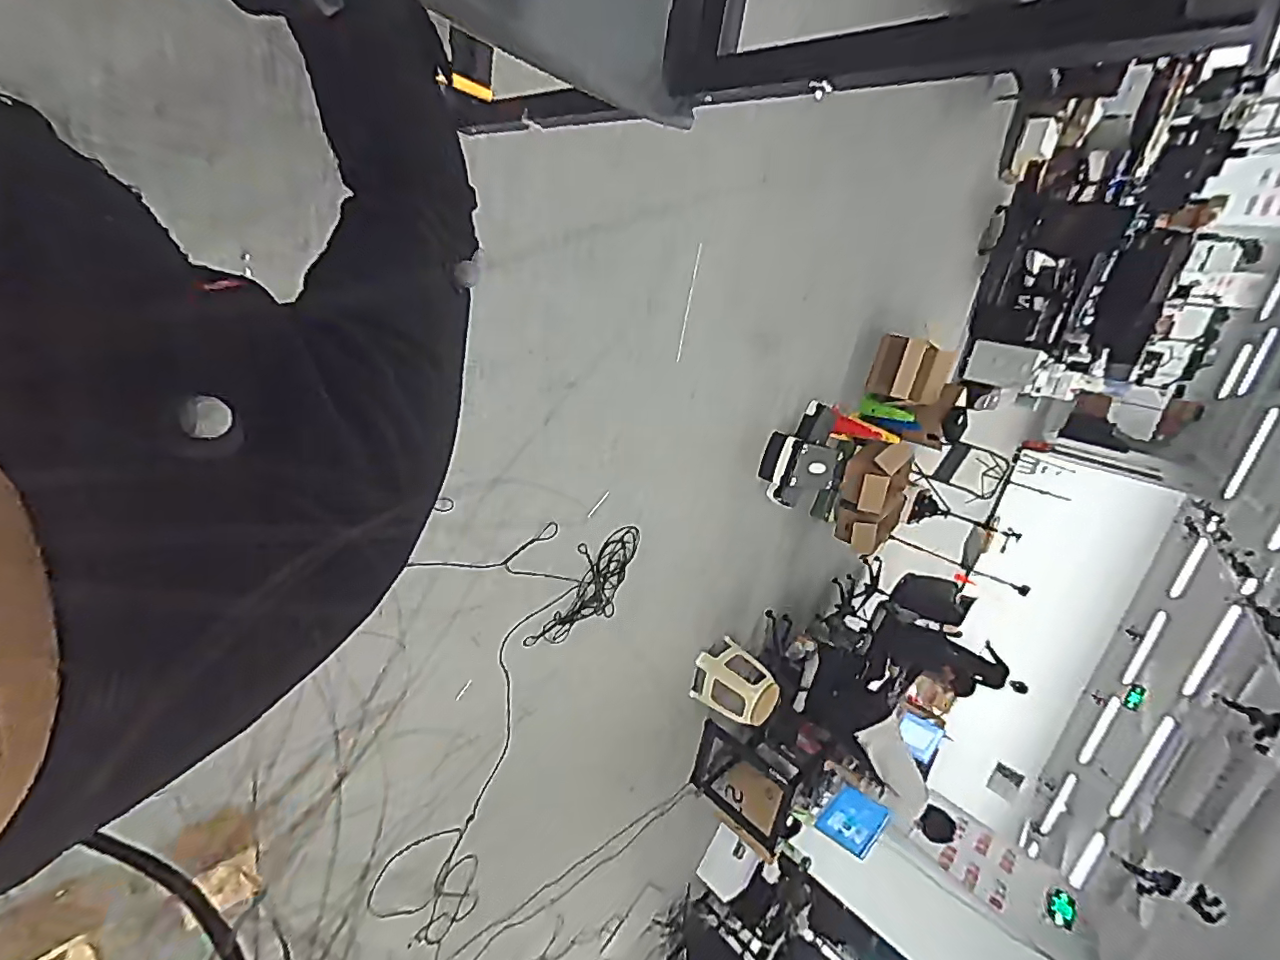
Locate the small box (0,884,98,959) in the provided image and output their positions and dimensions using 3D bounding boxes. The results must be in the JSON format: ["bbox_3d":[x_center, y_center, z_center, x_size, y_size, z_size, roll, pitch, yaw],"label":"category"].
[{"bbox_3d":[-1.409,1.100,1.263,0.168,0.176,0.179,-17,122,-43],"label":"small box"}]

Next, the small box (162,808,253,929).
[{"bbox_3d":[-1.191,1.060,1.491,0.168,0.176,0.179,-12,118,-46],"label":"small box"}]
